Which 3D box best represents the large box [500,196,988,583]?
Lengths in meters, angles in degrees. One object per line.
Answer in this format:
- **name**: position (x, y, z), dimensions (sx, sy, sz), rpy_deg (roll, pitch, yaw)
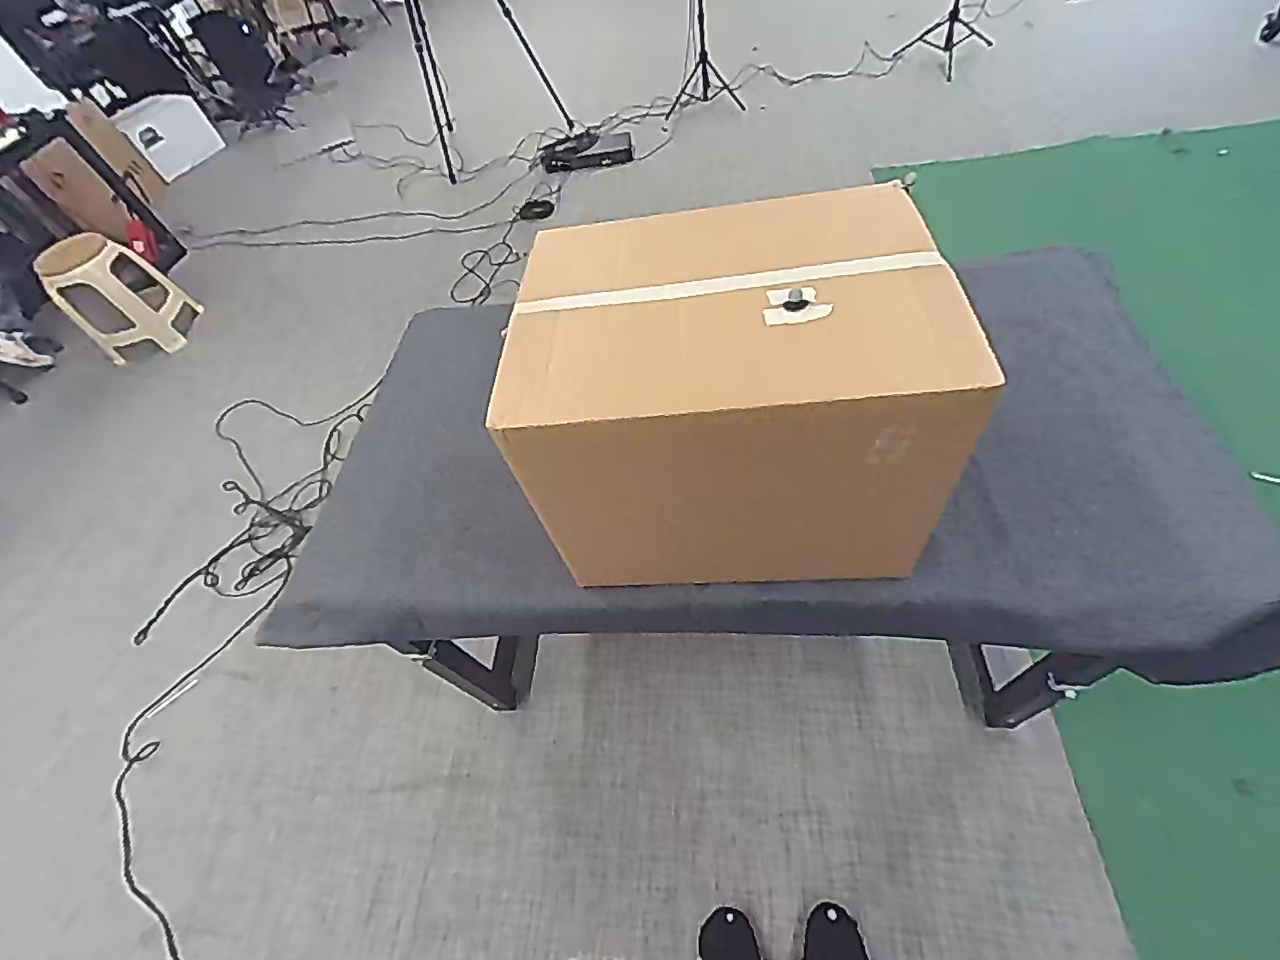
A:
- **large box**: position (0.098, -0.089, 0.645), dimensions (0.408, 0.320, 0.320), rpy_deg (-4, 53, 8)
